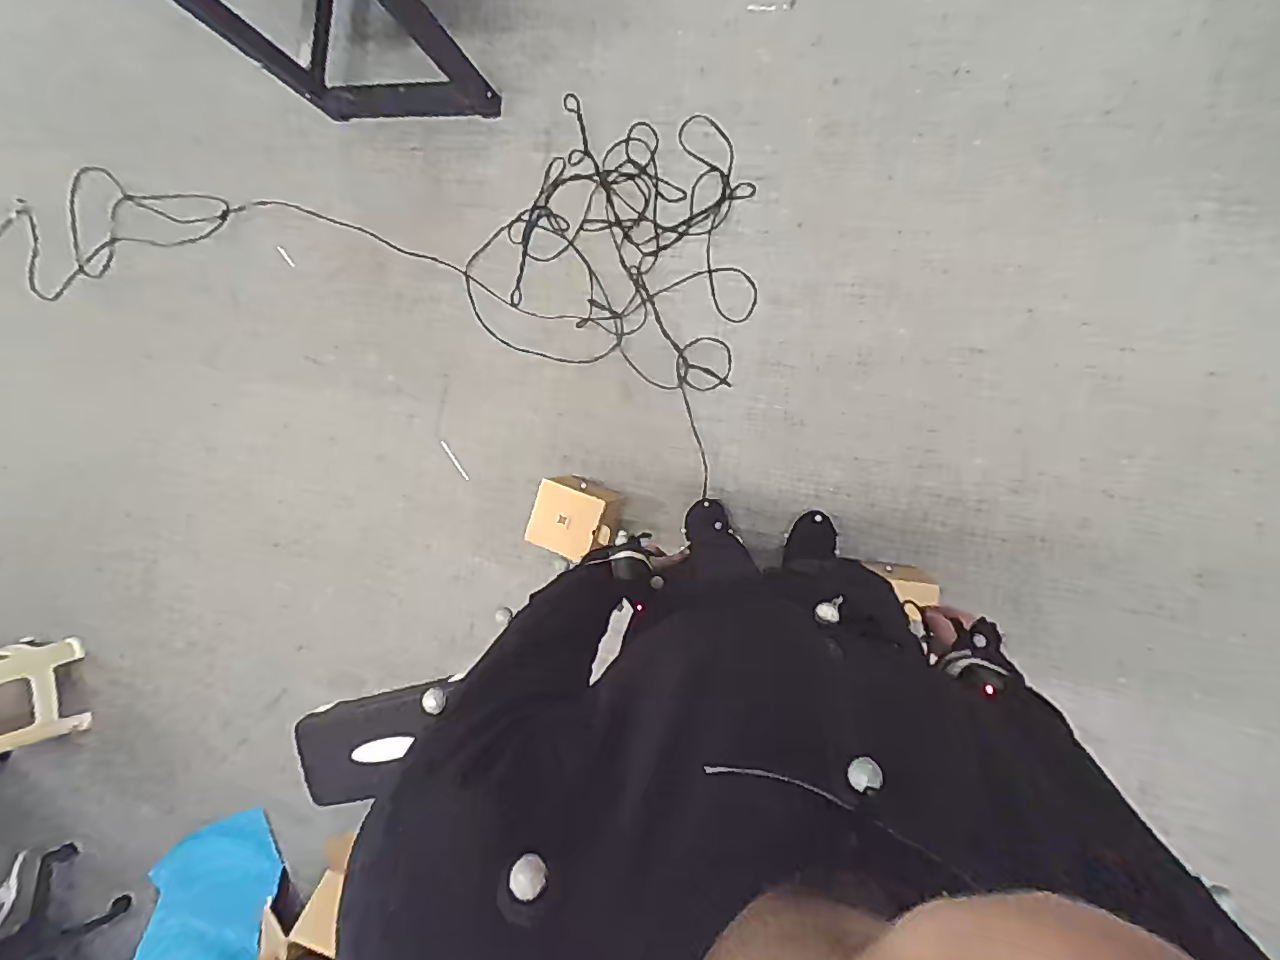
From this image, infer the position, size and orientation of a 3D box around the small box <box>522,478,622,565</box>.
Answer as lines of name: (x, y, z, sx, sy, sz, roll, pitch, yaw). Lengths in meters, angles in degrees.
small box: (-0.167, 0.101, 1.378, 0.179, 0.176, 0.168, 19, 96, 13)
